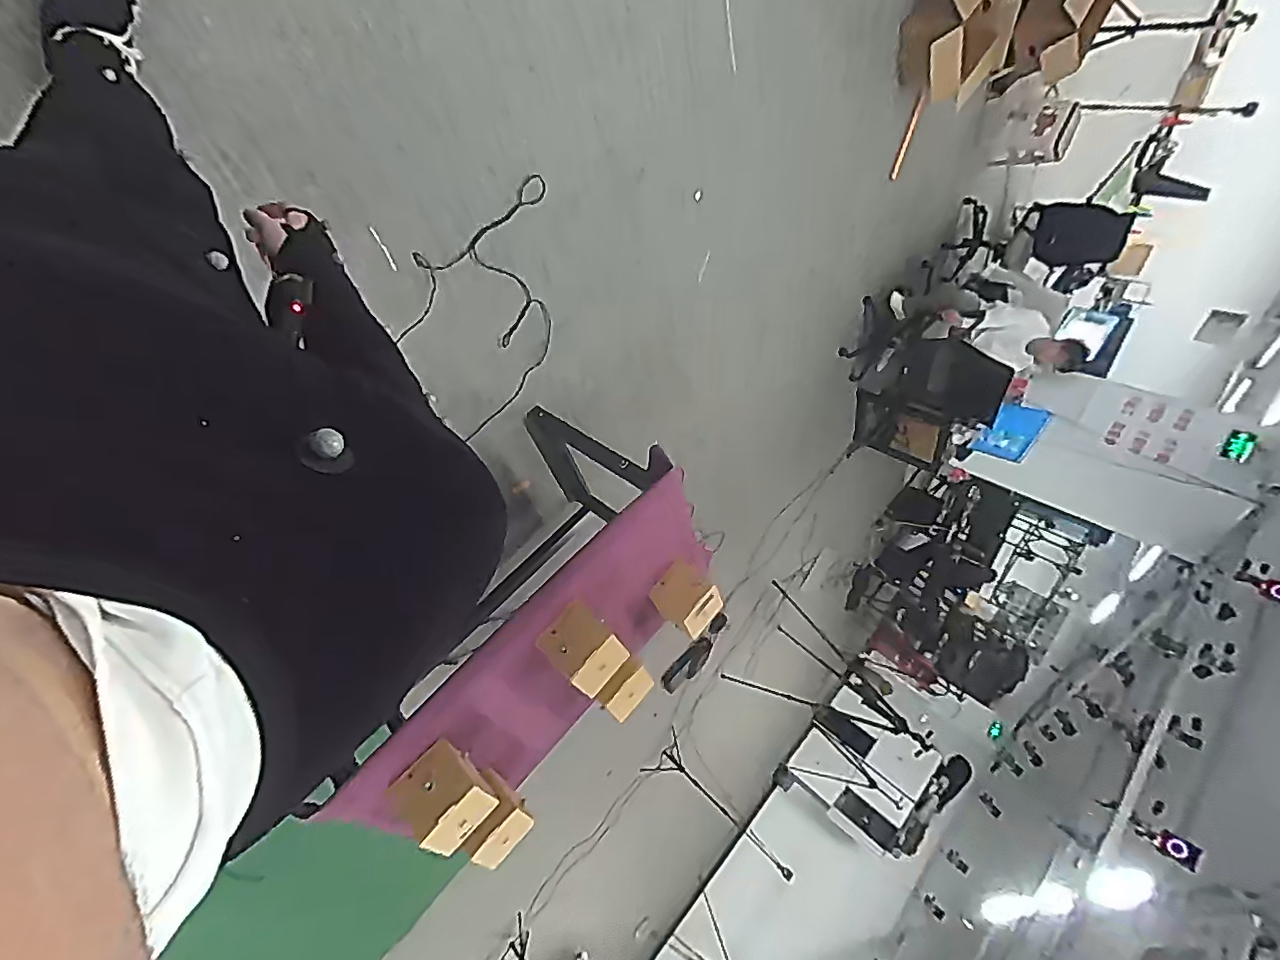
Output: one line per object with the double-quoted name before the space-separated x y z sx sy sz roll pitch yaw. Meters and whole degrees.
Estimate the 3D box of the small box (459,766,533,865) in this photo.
"small box" -0.445 0.973 1.577 0.168 0.176 0.179 -41 141 -24

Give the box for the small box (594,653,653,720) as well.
"small box" -0.088 0.638 1.754 0.168 0.176 0.179 -44 141 -18

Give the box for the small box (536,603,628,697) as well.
"small box" -0.165 0.478 1.538 0.168 0.176 0.179 -45 144 -16

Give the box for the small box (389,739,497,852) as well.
"small box" -0.501 0.795 1.374 0.168 0.176 0.179 -41 142 -23
